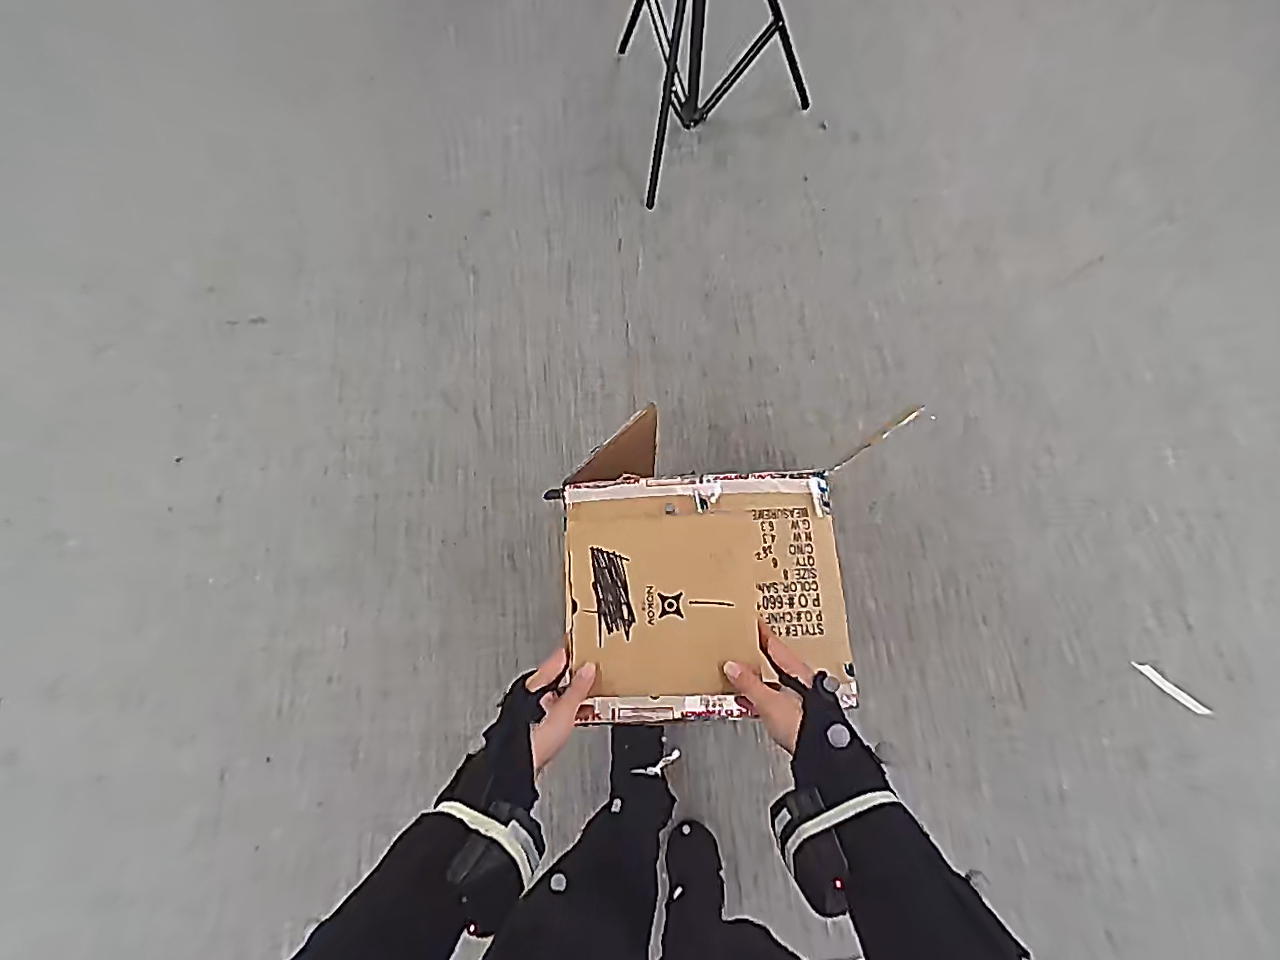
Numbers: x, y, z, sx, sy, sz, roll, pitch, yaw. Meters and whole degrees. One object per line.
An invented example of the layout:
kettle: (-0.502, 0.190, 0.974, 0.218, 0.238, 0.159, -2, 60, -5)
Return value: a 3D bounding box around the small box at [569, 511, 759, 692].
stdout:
small box: (0.029, 0.123, 0.583, 0.179, 0.176, 0.168, -3, 83, 5)
